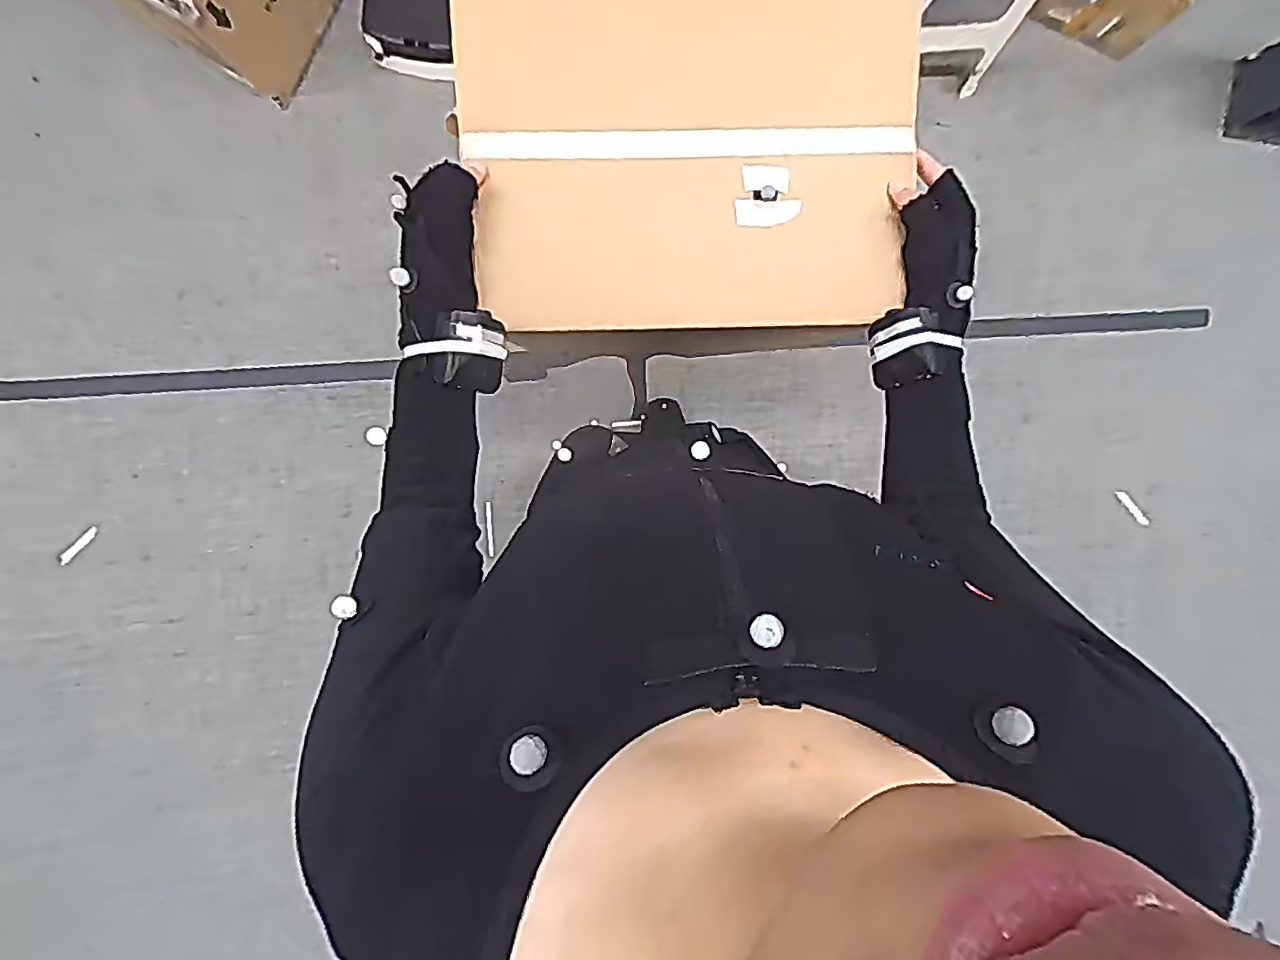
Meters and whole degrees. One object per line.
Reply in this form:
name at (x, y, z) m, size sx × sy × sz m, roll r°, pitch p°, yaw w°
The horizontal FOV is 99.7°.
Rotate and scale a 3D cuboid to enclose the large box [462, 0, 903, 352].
large box at (0.038, -0.330, 0.649) m, size 0.408 × 0.320 × 0.320 m, roll -2°, pitch 100°, yaw -3°
